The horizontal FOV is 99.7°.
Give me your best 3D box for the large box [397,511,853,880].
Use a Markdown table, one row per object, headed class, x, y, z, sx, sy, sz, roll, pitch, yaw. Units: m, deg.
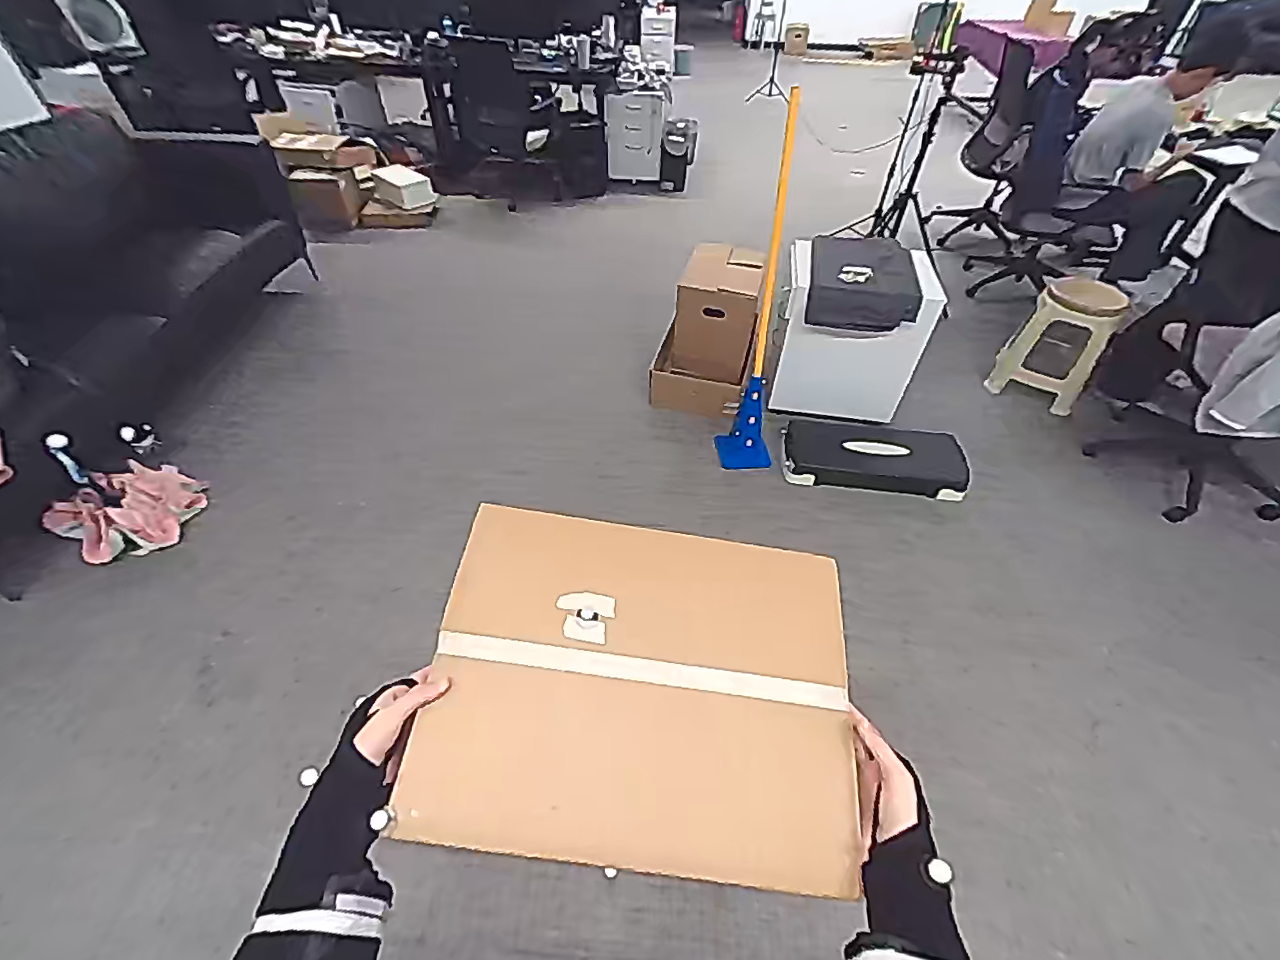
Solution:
| class | x | y | z | sx | sy | sz | roll | pitch | yaw |
| --- | --- | --- | --- | --- | --- | --- | --- | --- | --- |
| large box | -0.008 | 0.265 | 0.666 | 0.408 | 0.320 | 0.320 | 8 | 57 | -1 |
